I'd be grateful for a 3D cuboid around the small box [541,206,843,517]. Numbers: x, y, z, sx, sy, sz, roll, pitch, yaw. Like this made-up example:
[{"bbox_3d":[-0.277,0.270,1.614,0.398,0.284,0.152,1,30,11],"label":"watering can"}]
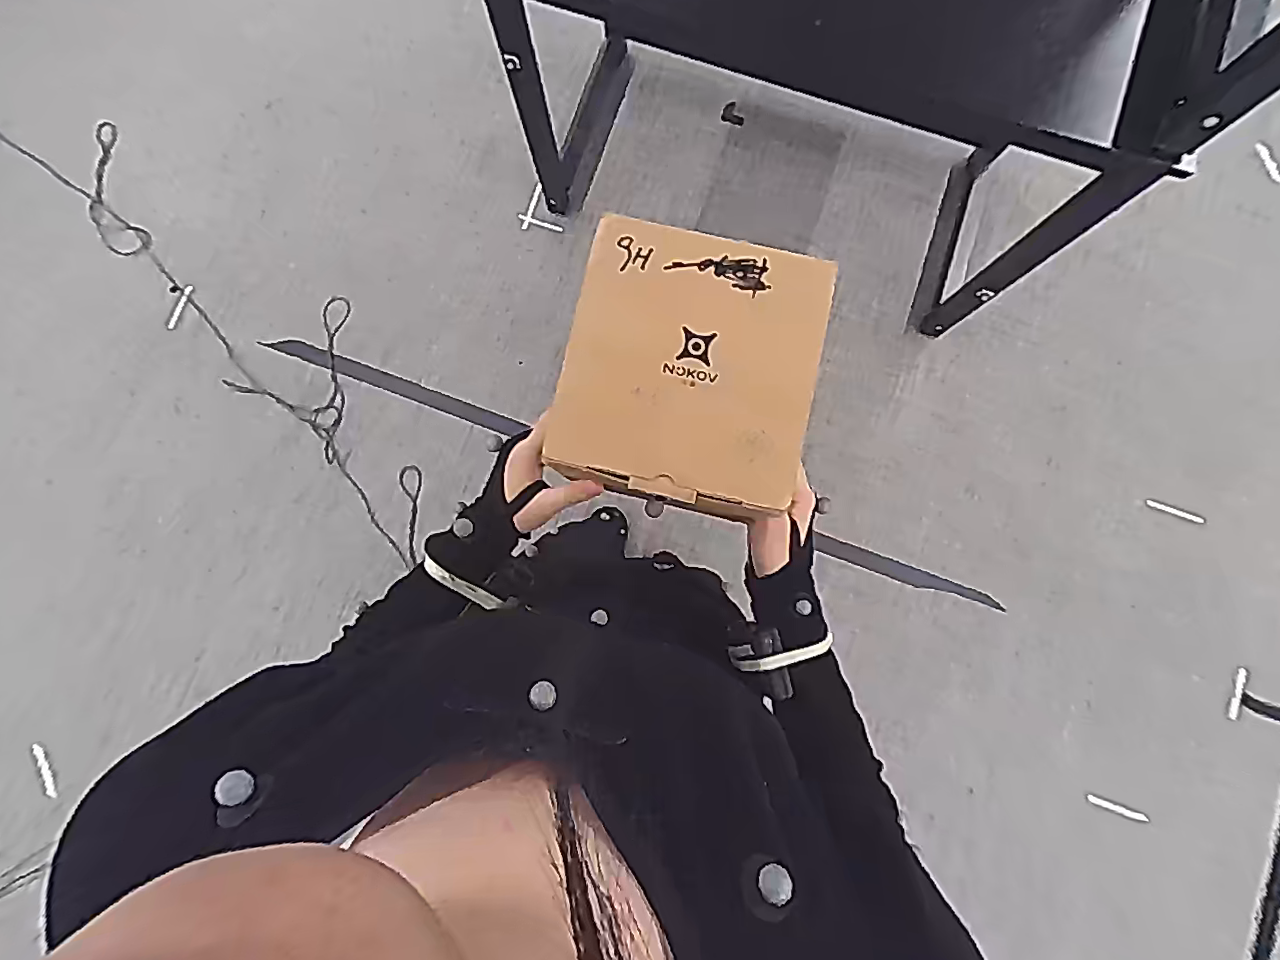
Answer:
[{"bbox_3d":[0.034,-0.073,0.427,0.168,0.176,0.179,13,85,0],"label":"small box"}]
